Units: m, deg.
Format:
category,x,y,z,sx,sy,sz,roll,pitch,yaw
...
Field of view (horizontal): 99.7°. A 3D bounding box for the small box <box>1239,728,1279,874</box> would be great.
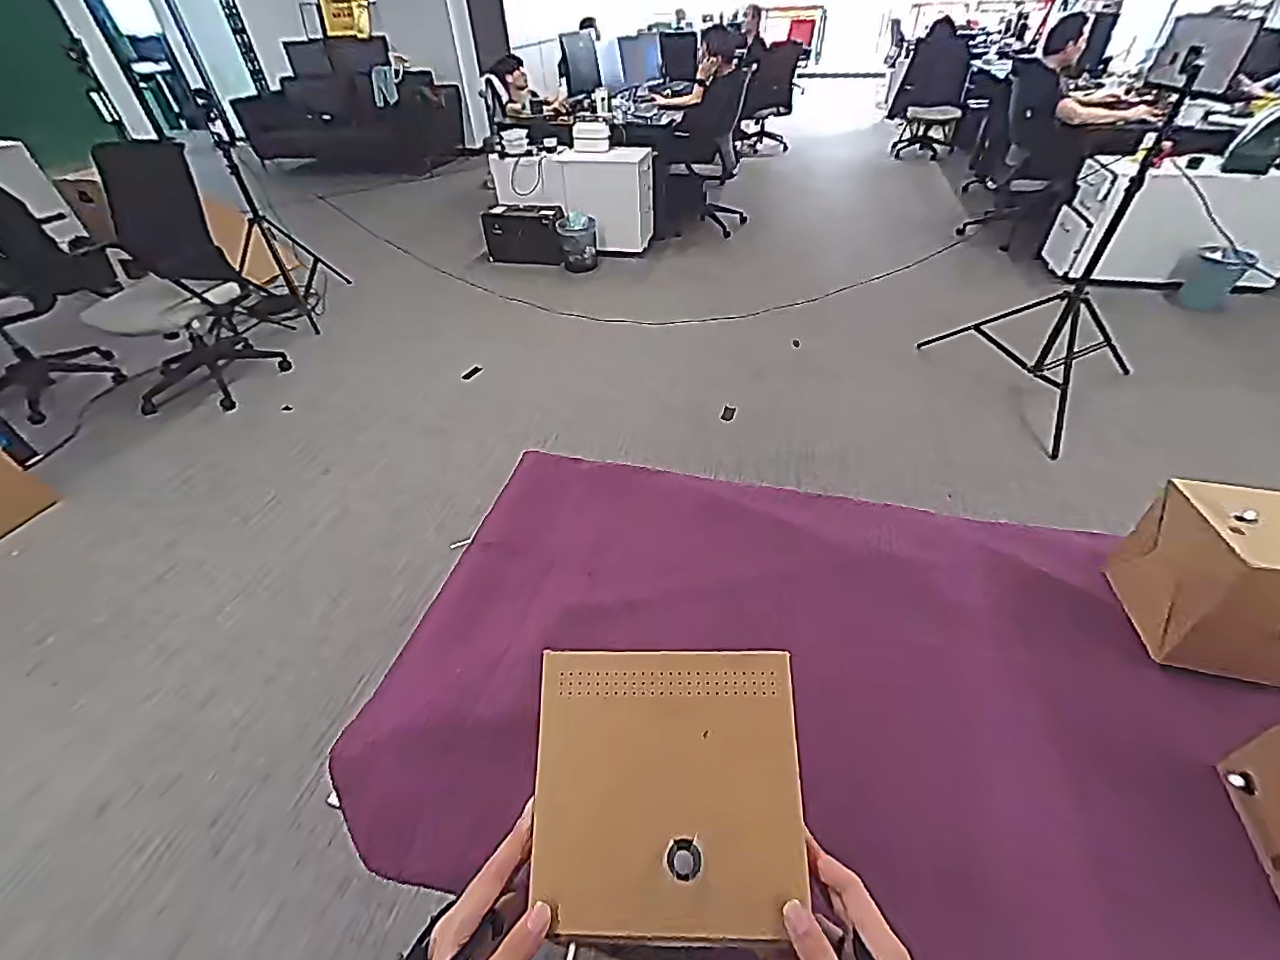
category,x,y,z,sx,sy,sz,roll,pitch,yaw
small box,0.695,0.315,0.467,0.179,0.176,0.168,10,42,13
